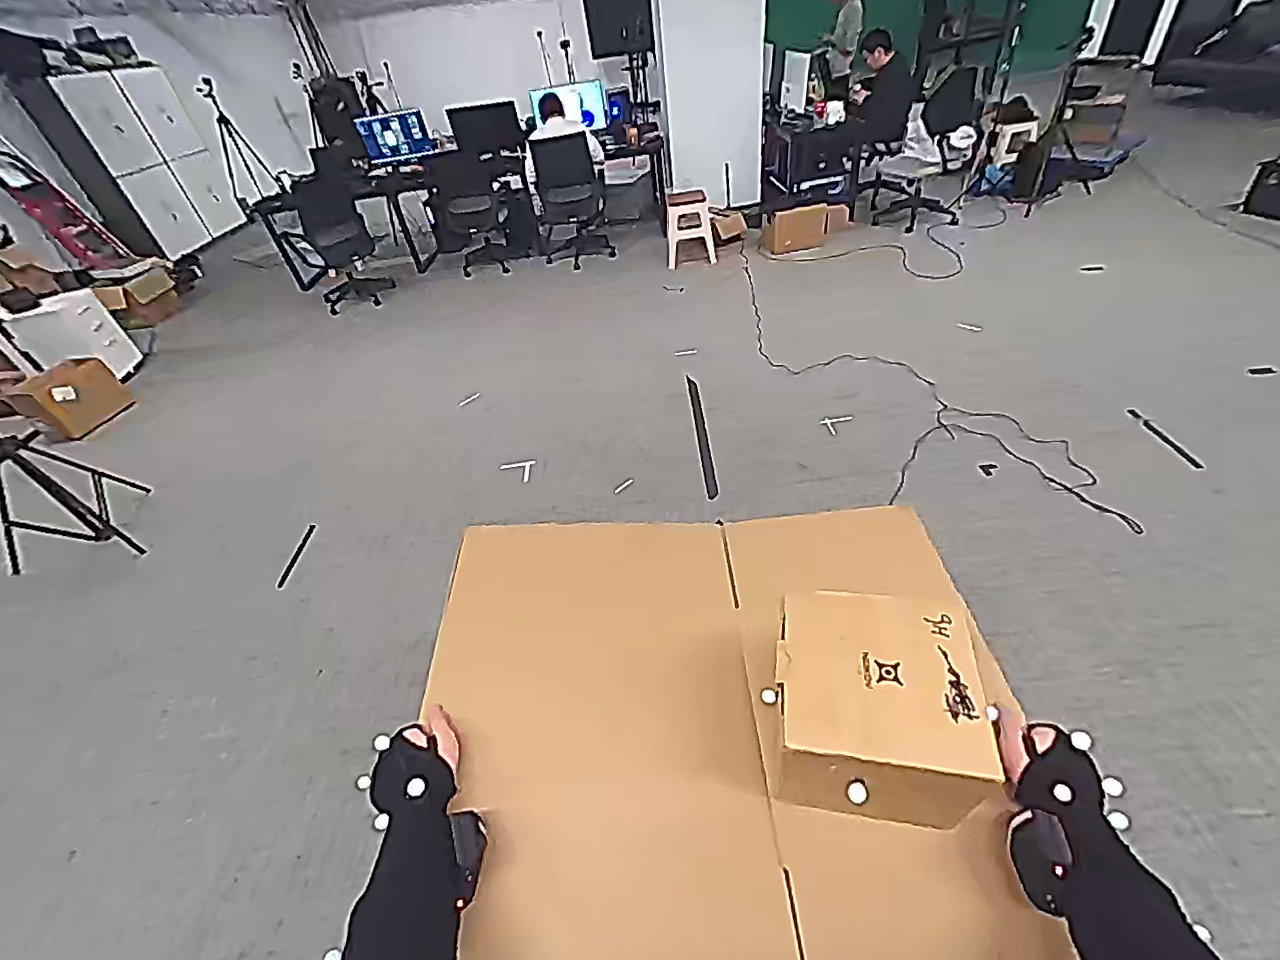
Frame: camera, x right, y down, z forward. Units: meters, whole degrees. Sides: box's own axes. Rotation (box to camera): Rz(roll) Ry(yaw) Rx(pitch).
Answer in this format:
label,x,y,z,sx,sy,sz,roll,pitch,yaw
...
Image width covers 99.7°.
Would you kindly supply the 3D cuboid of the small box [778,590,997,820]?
label,x,y,z,sx,sy,sz,roll,pitch,yaw
small box,0.237,0.236,0.570,0.179,0.176,0.168,2,47,14
